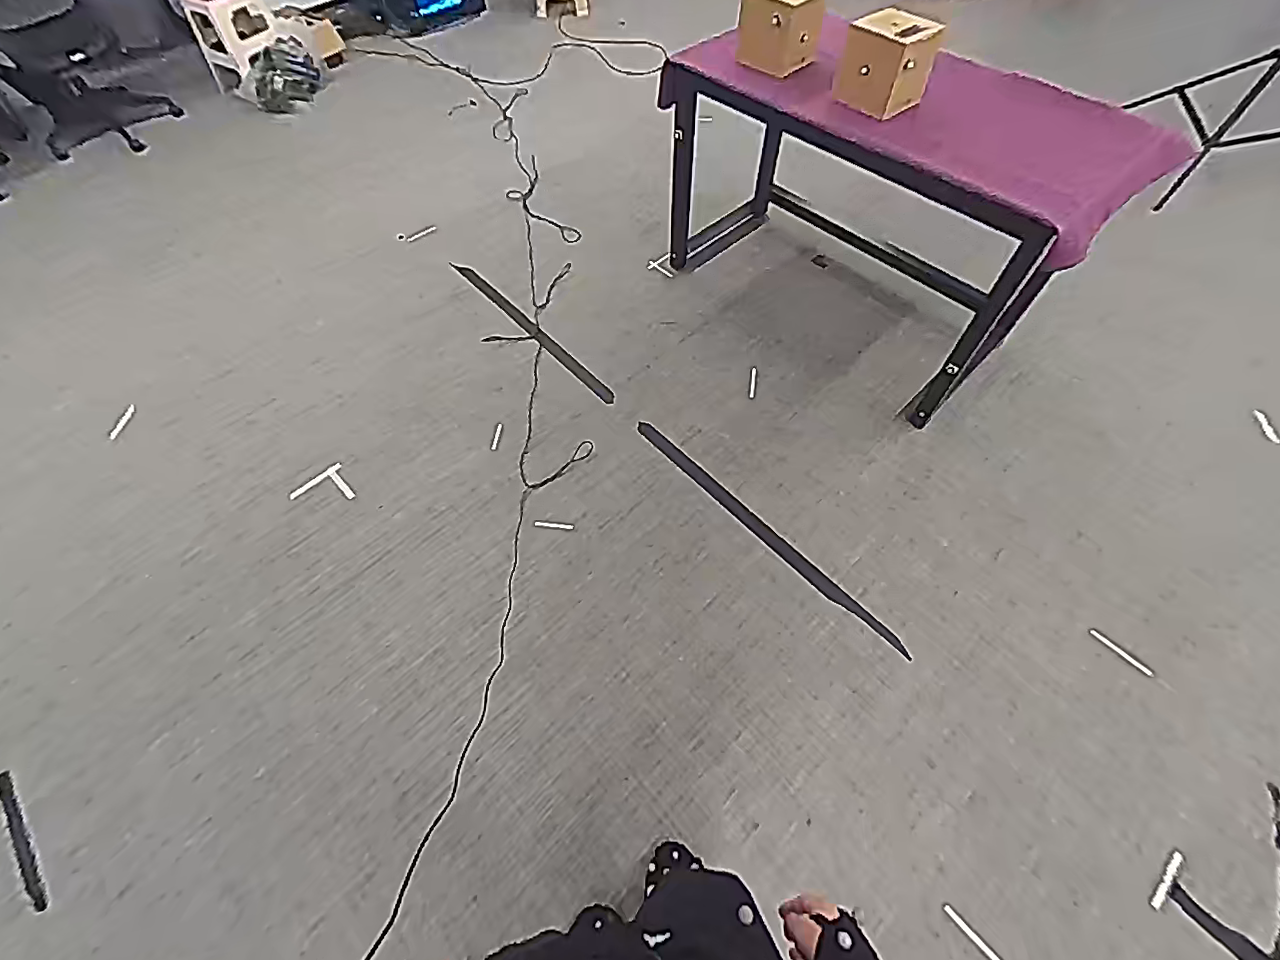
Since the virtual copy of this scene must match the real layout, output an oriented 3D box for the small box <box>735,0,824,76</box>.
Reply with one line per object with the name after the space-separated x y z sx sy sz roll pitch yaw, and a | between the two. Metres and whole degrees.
0.395 -1.284 1.536 0.179 0.176 0.168 39 65 22 | small box
